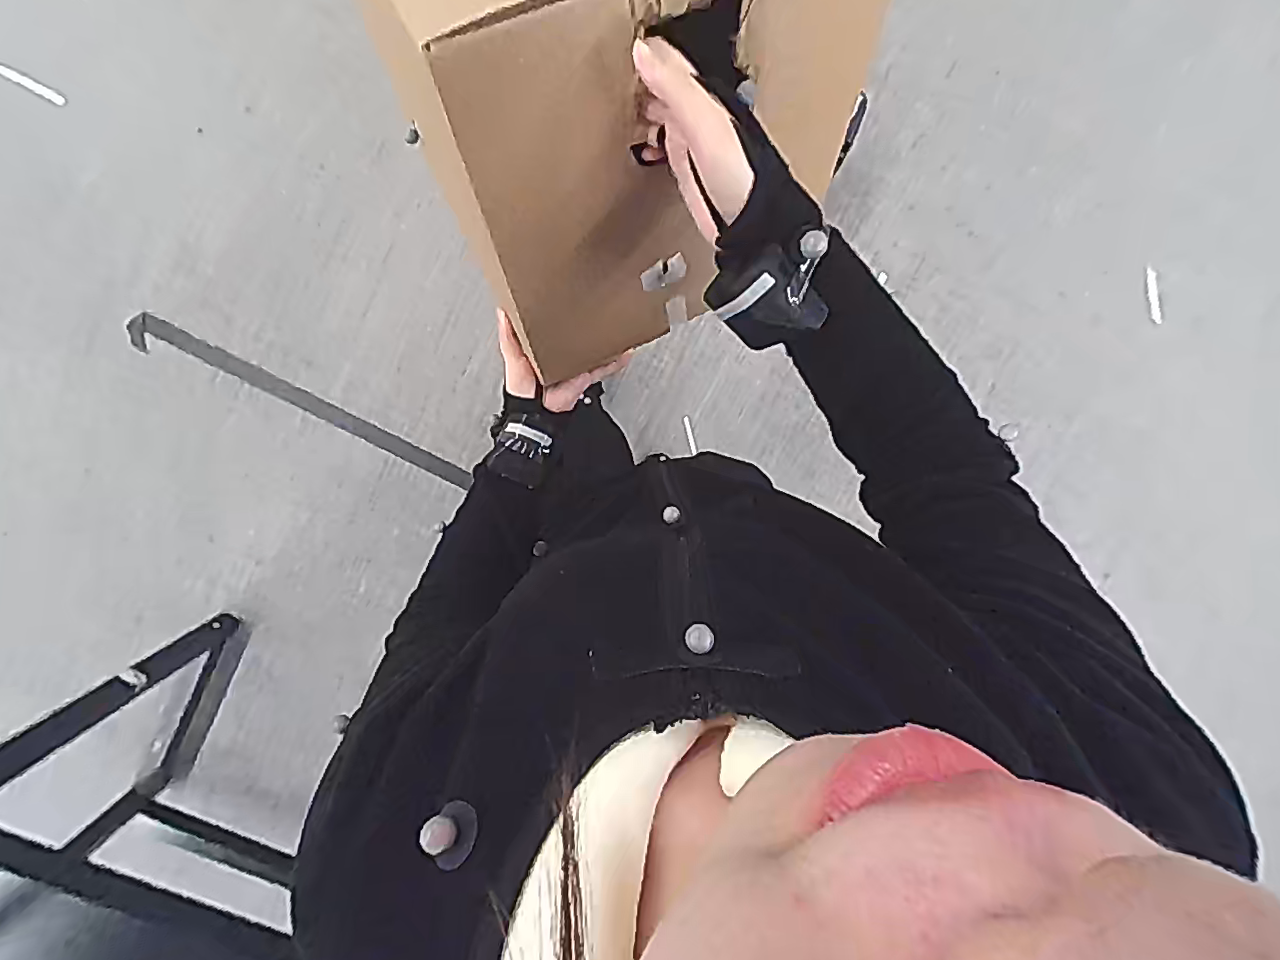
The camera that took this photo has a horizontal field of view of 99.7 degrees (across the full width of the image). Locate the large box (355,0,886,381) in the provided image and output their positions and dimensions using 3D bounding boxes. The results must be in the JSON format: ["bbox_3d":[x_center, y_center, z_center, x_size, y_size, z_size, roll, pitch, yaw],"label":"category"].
[{"bbox_3d":[-0.053,-0.374,0.491,0.320,0.320,0.408,-26,68,-9],"label":"large box"}]
